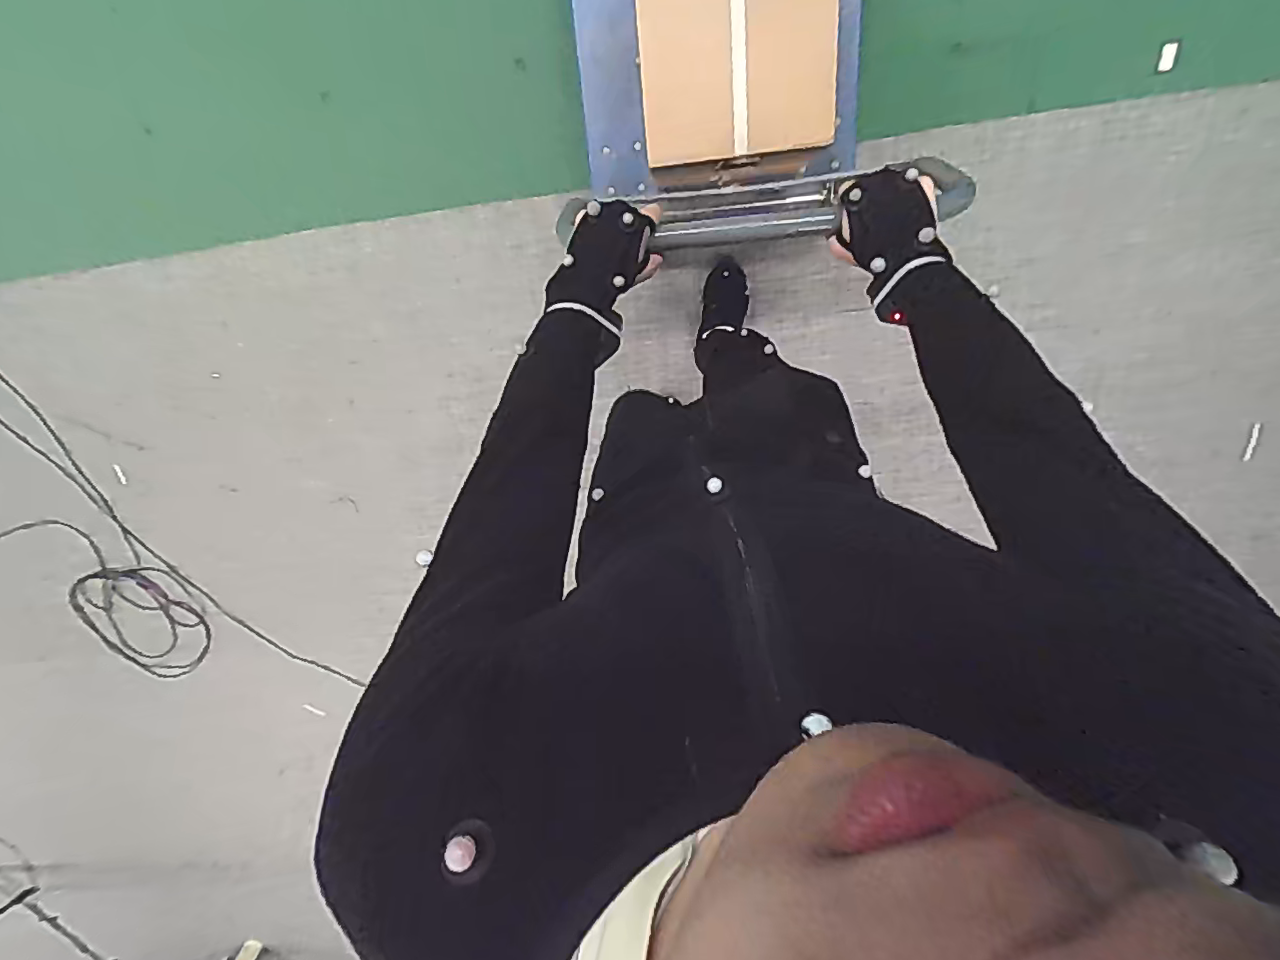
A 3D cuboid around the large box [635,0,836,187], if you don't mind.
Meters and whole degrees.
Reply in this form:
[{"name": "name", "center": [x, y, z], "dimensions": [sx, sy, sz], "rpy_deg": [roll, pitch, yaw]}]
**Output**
[{"name": "large box", "center": [0.162, -0.791, 0.980], "dimensions": [0.320, 0.320, 0.408], "rpy_deg": [-3, 112, 6]}]
